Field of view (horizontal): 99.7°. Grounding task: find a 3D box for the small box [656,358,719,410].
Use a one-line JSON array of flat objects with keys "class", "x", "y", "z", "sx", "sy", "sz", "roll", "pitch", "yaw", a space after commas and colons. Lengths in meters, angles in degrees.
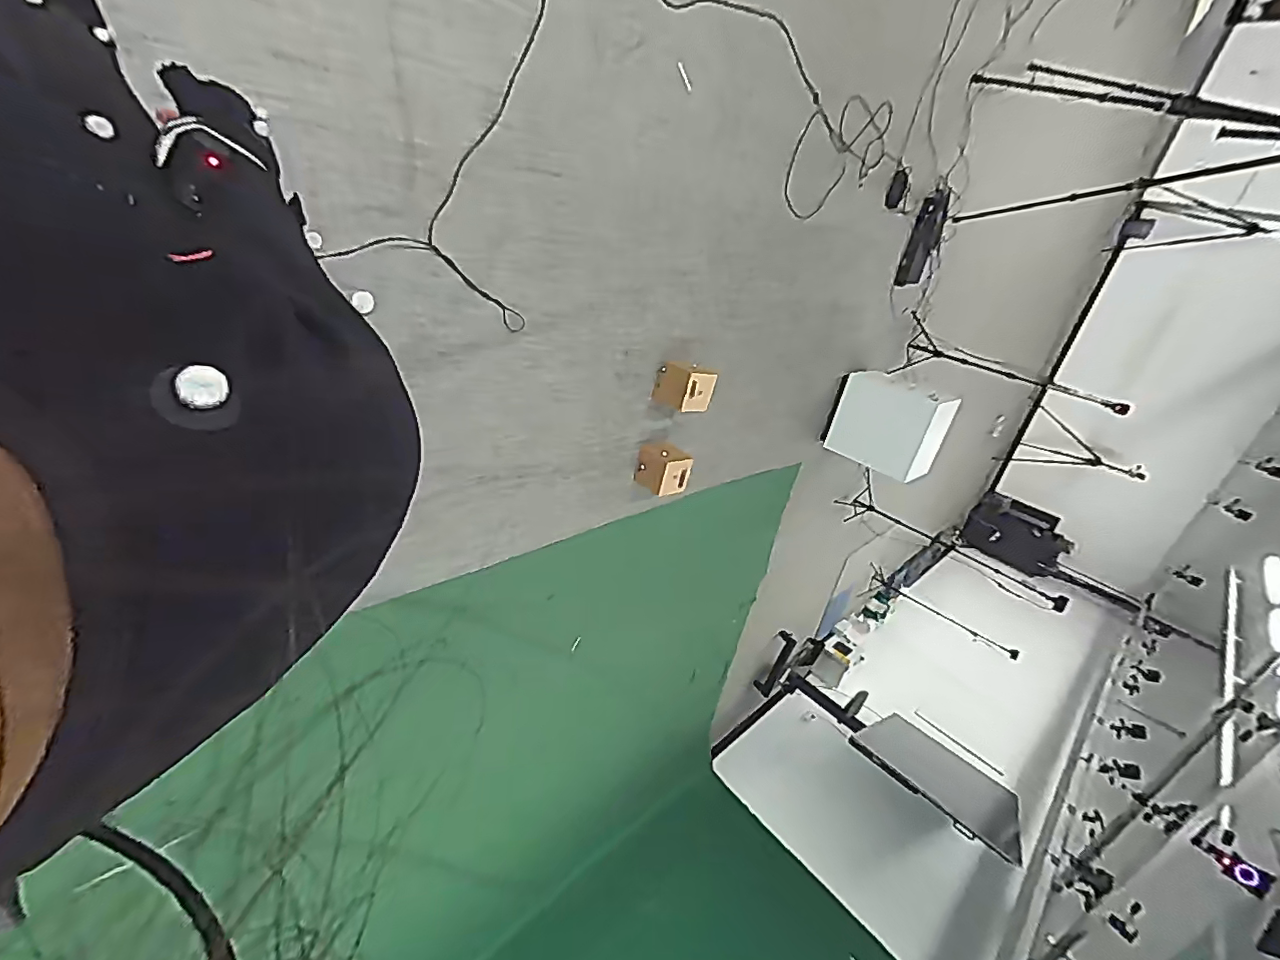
[{"class": "small box", "x": 0.190, "y": -0.398, "z": 2.233, "sx": 0.179, "sy": 0.176, "sz": 0.168, "roll": -9, "pitch": 123, "yaw": -45}]
